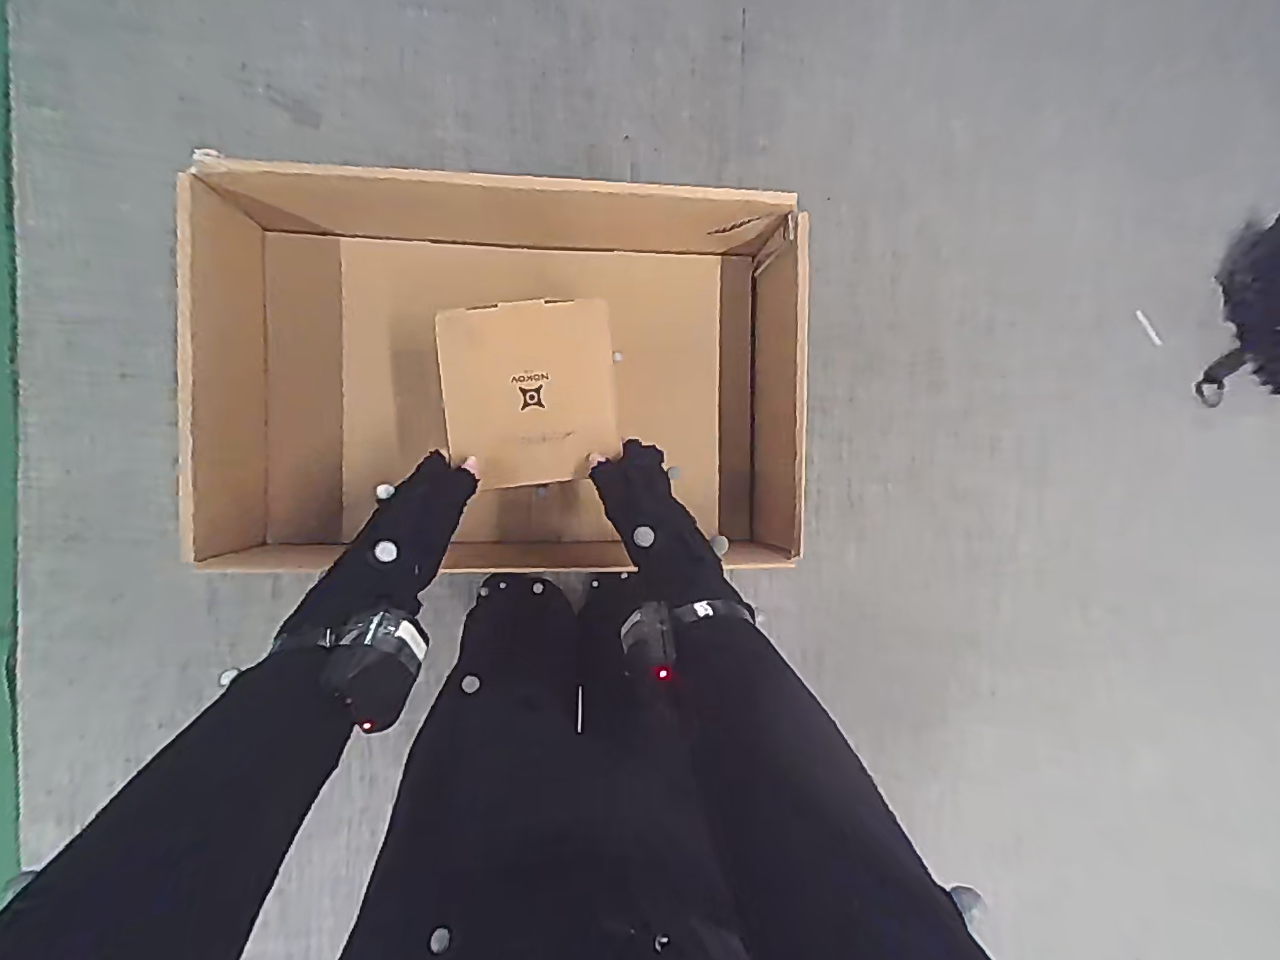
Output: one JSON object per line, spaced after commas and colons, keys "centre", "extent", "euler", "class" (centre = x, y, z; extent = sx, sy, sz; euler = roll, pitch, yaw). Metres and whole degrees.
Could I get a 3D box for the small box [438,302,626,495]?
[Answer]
{"centre": [-0.112, -0.080, 0.604], "extent": [0.168, 0.176, 0.179], "euler": [-8, 91, -5], "class": "small box"}
